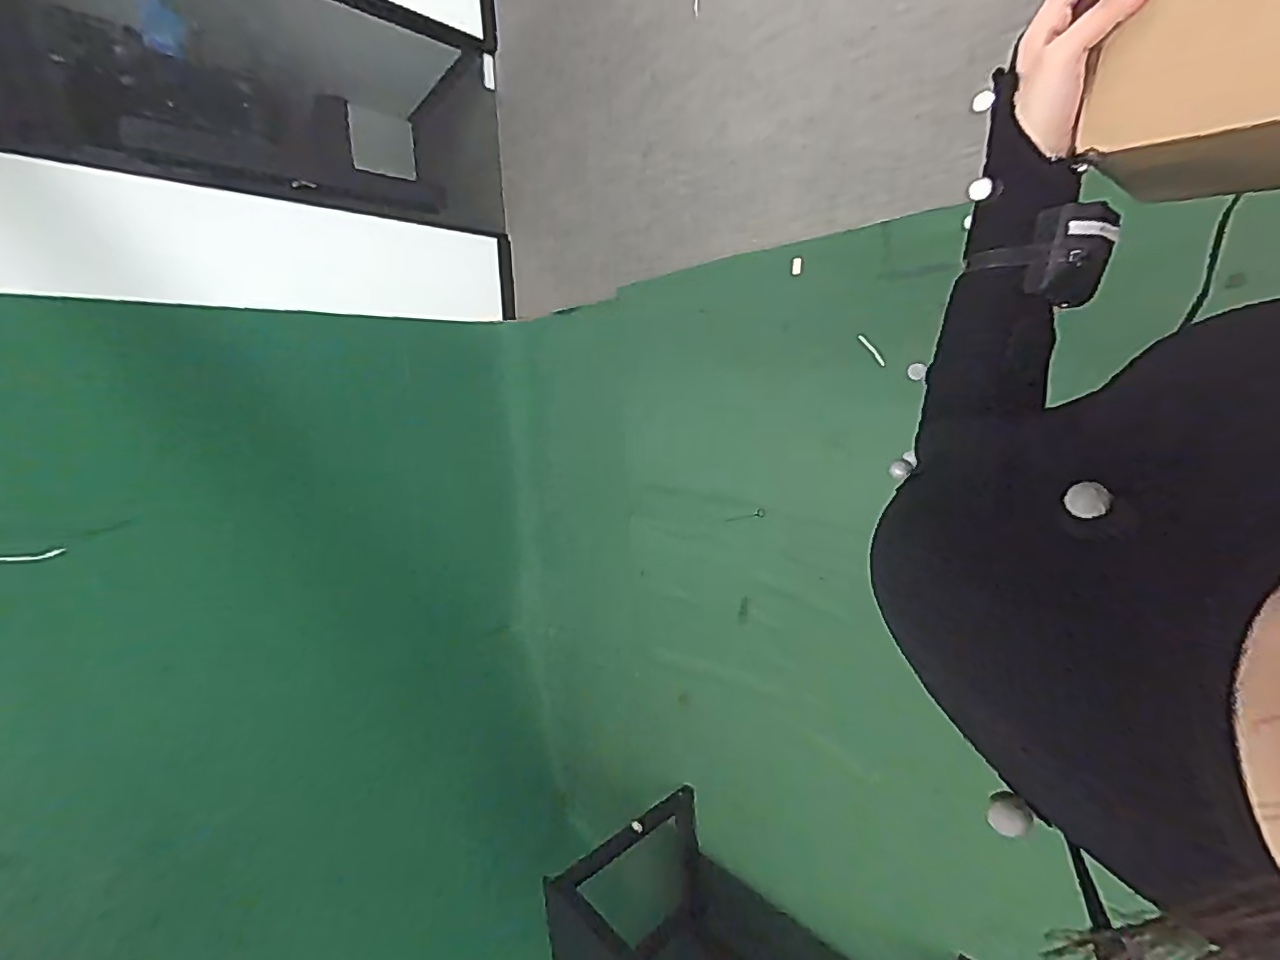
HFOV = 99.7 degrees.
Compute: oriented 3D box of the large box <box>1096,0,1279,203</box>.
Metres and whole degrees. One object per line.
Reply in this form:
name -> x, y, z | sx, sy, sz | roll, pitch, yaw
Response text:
large box -> 0.557, -0.376, 0.300 | 0.408, 0.320, 0.320 | 15, 114, 44
